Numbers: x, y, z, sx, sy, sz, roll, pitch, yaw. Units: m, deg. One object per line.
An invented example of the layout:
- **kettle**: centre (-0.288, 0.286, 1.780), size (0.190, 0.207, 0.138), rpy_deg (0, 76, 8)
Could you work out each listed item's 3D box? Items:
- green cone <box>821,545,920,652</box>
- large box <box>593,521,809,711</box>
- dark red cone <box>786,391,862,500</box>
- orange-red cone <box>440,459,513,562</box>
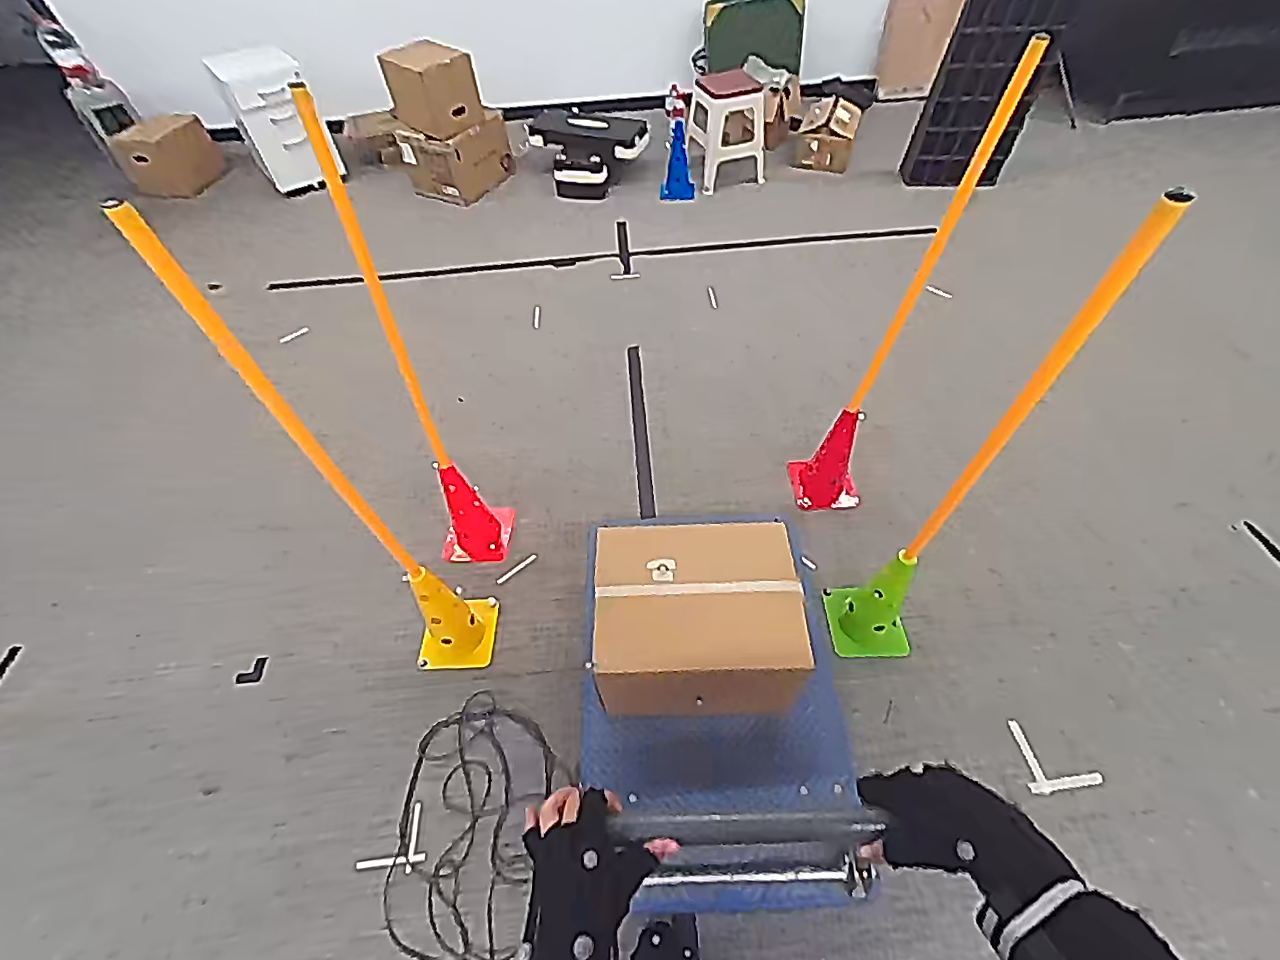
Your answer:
- **green cone**: centre (0.618, 0.279, 1.375), size (0.202, 0.368, 0.200), rpy_deg (-1, 52, 0)
- **large box**: centre (0.116, 0.308, 1.194), size (0.408, 0.320, 0.320), rpy_deg (-3, 53, 2)
- **dark red cone**: centre (0.598, -0.116, 1.657), size (0.201, 0.394, 0.202), rpy_deg (-4, 53, -3)
- **orange-red cone**: centre (-0.520, 0.065, 1.596), size (0.198, 0.360, 0.199), rpy_deg (2, 51, 3)
